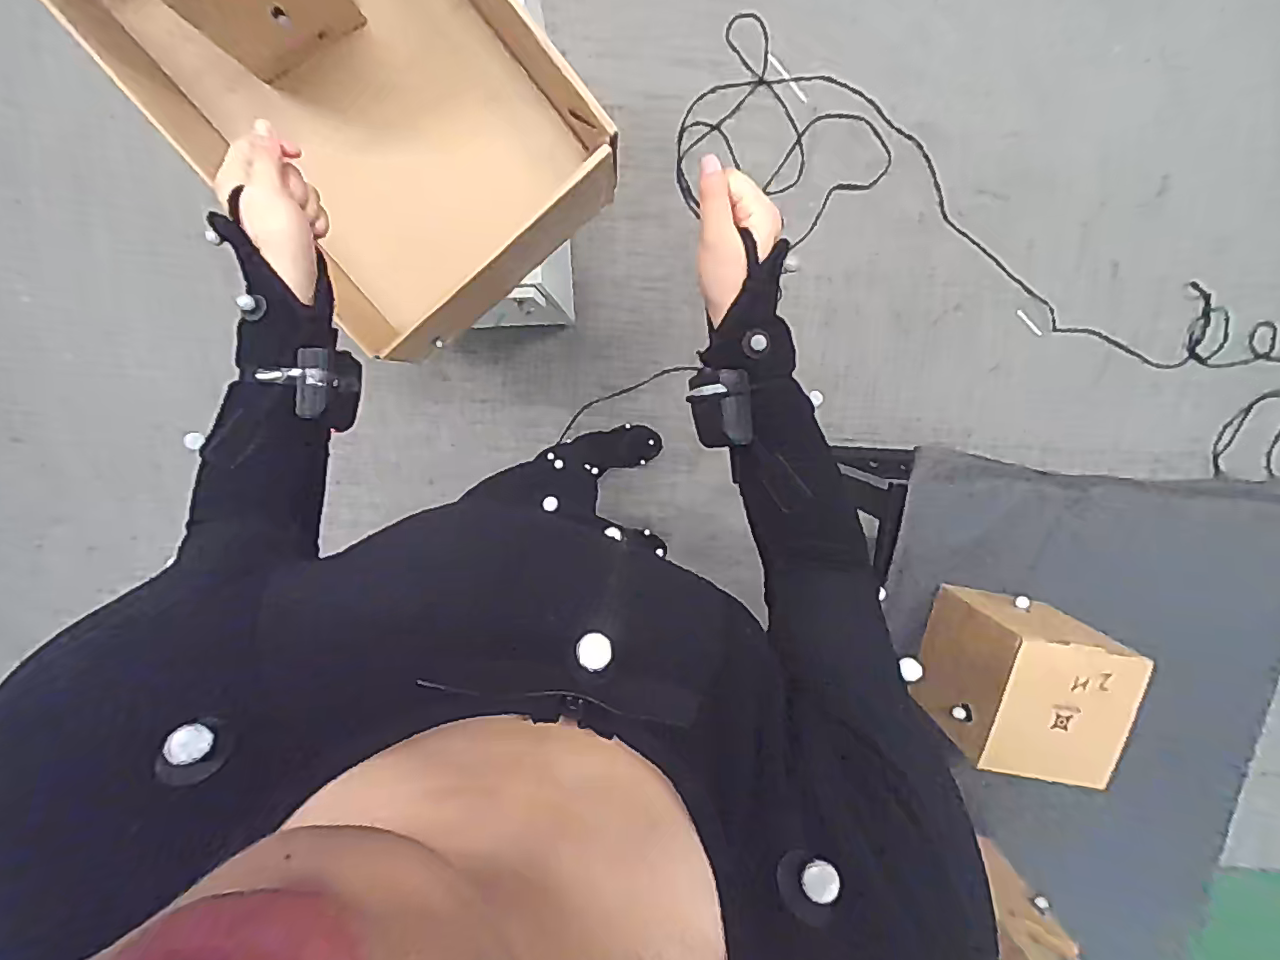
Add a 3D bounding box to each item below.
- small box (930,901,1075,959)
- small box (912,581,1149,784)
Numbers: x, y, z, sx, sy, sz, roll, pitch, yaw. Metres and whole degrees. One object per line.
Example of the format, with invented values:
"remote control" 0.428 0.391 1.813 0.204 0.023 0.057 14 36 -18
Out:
"small box" 0.448 0.644 0.612 0.168 0.176 0.179 36 96 -8
"small box" 0.492 0.256 0.714 0.168 0.176 0.179 11 99 -3
